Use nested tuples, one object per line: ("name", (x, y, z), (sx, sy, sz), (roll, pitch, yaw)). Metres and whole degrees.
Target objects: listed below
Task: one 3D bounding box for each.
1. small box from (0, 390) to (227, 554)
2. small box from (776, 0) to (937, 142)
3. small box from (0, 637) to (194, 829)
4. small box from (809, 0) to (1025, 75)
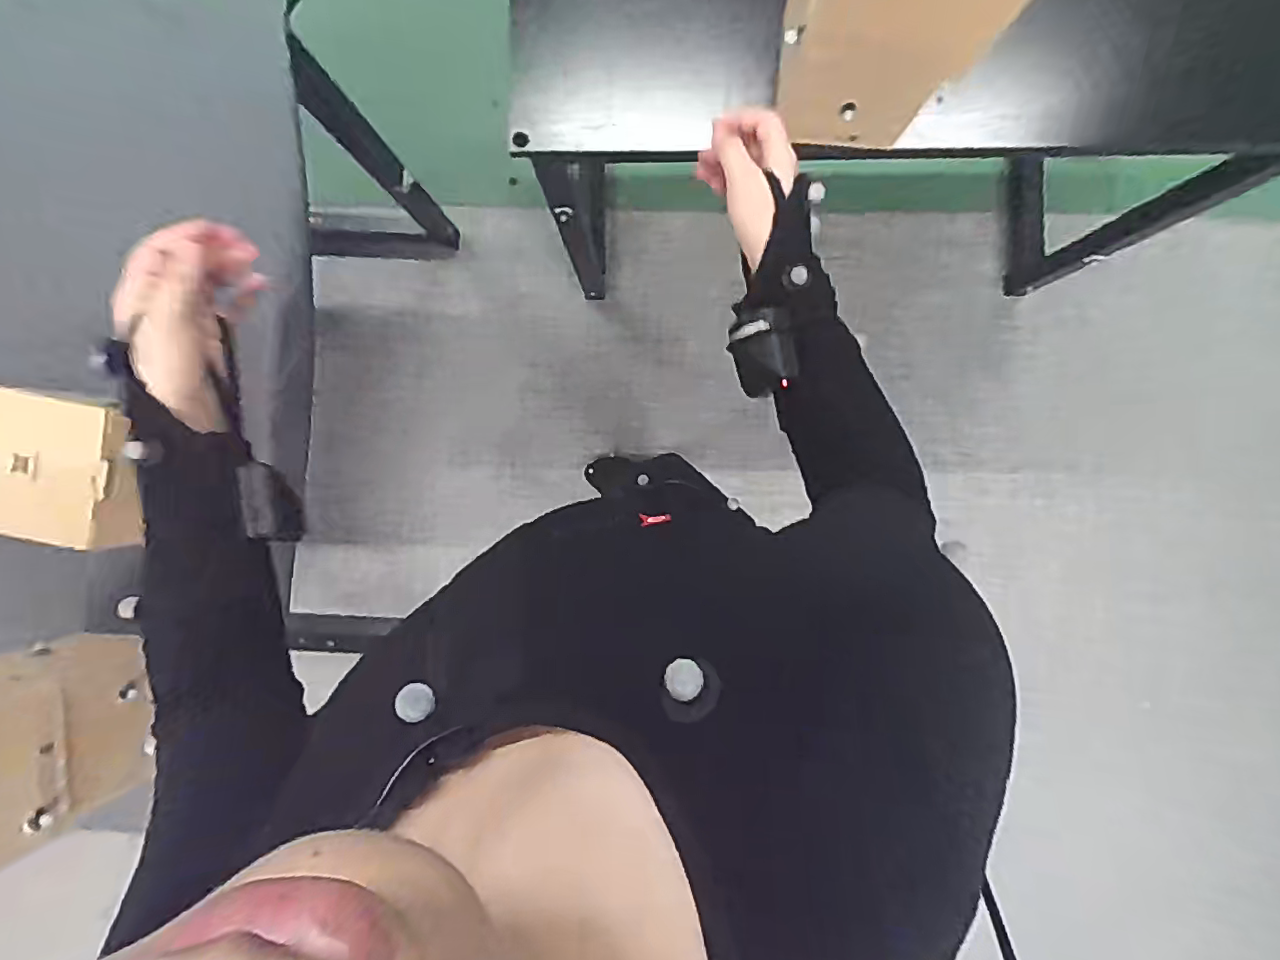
("small box", (-0.684, -0.014, 0.697), (0.179, 0.176, 0.168), (11, 92, 2))
("small box", (0.270, -0.547, 0.659), (0.168, 0.176, 0.179), (5, 92, 0))
("small box", (-0.731, 0.315, 0.709), (0.168, 0.176, 0.179), (0, 92, 4))
("small box", (0.280, -0.521, 0.497), (0.179, 0.176, 0.168), (12, 92, 1))
